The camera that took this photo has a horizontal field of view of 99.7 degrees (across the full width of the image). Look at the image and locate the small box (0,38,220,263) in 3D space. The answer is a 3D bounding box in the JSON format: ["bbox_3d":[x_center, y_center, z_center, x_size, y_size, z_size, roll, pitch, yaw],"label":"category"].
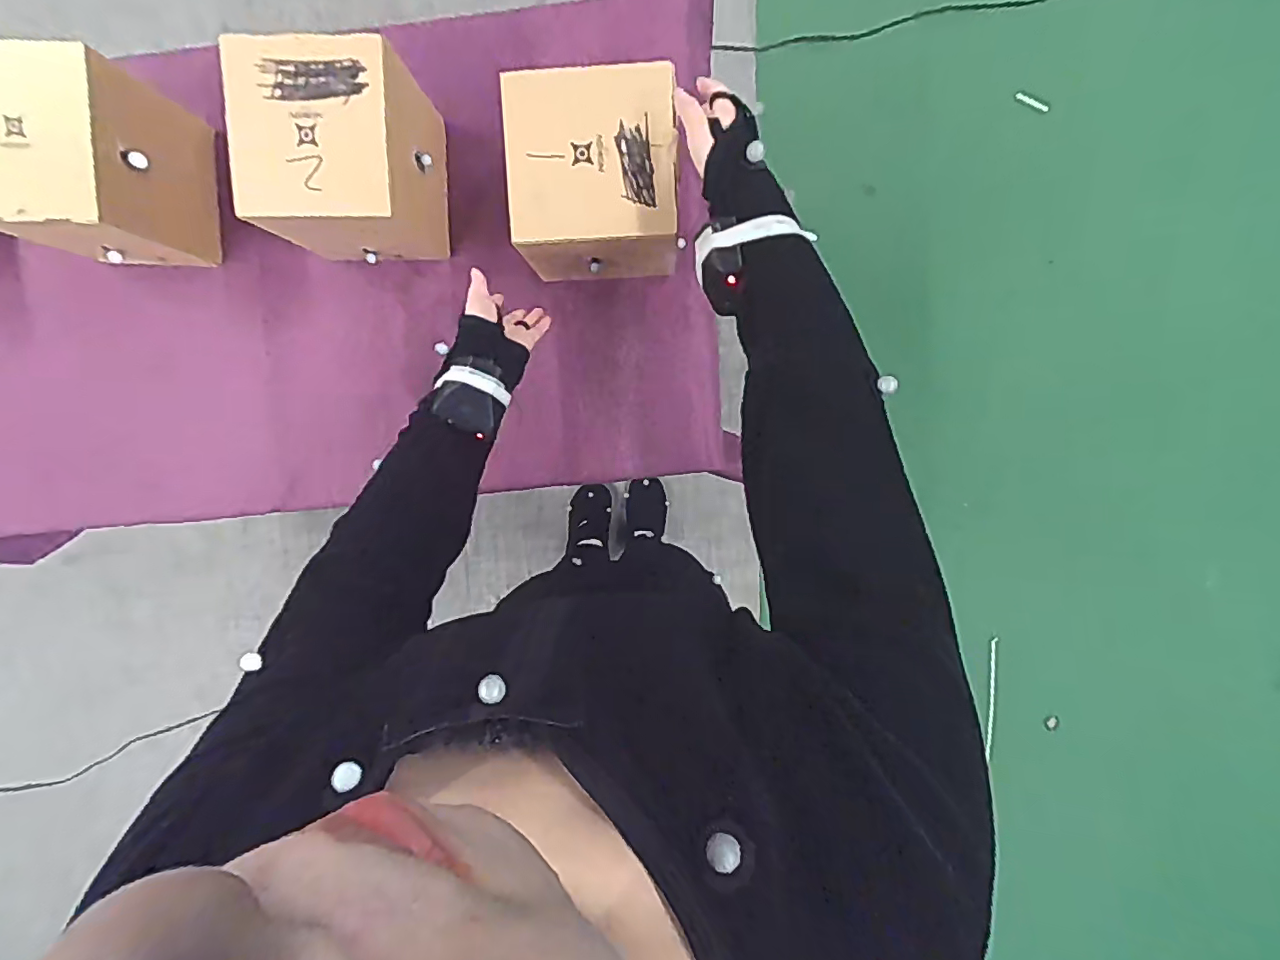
[{"bbox_3d":[-0.639,-0.372,0.636,0.168,0.176,0.179,3,98,1],"label":"small box"}]

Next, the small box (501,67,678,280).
[{"bbox_3d":[-0.049,-0.337,0.627,0.179,0.176,0.168,-2,97,3],"label":"small box"}]
